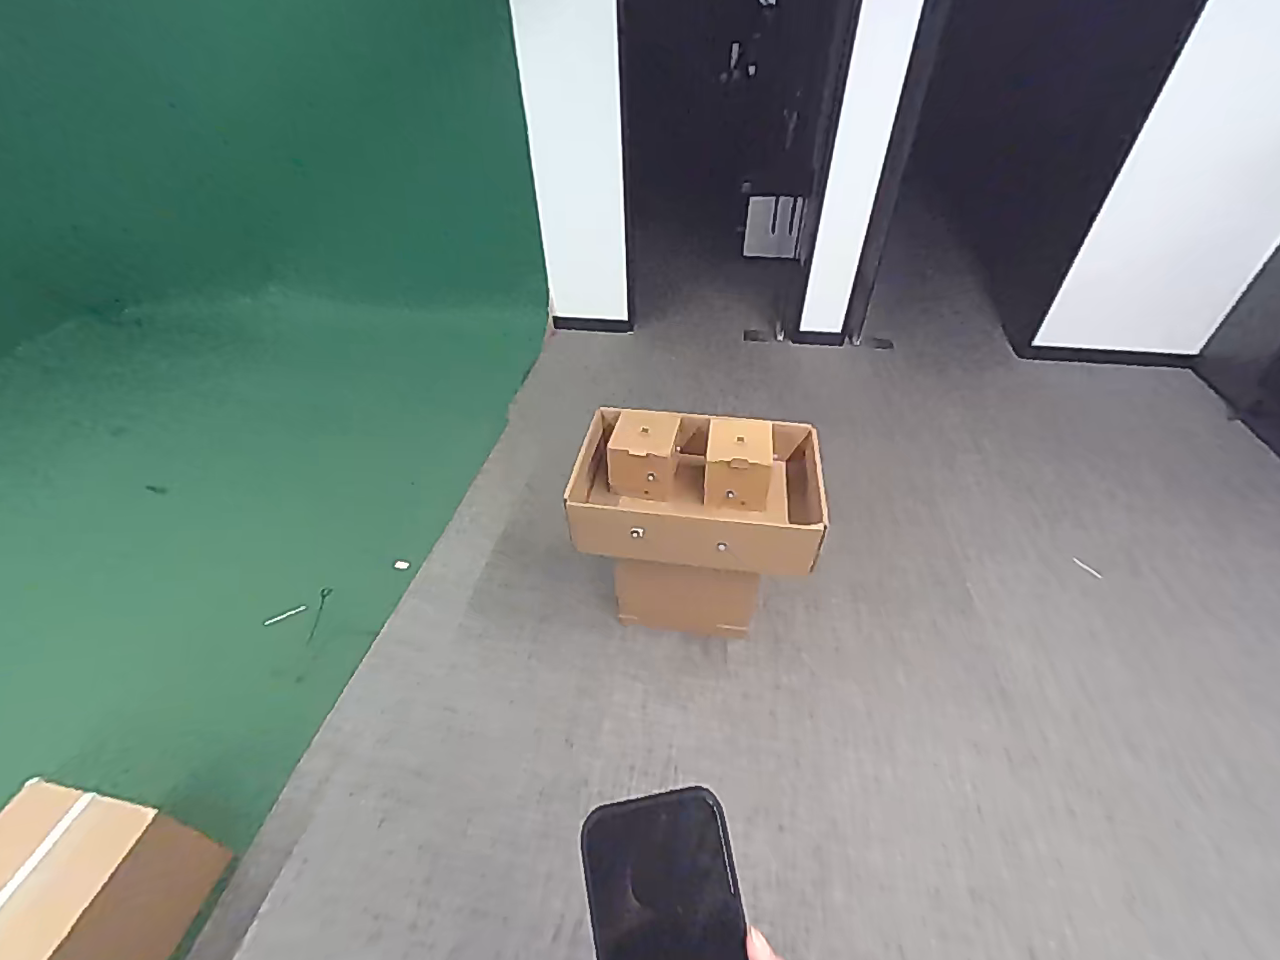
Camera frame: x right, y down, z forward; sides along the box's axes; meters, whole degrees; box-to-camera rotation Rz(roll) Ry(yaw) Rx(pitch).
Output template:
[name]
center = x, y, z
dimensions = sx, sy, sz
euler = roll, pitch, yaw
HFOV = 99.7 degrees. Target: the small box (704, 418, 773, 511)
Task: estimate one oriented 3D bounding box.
[small box]
center = 0.261, -0.043, 1.446
dimensions = 0.168, 0.176, 0.179
euler = 5, 44, 8
